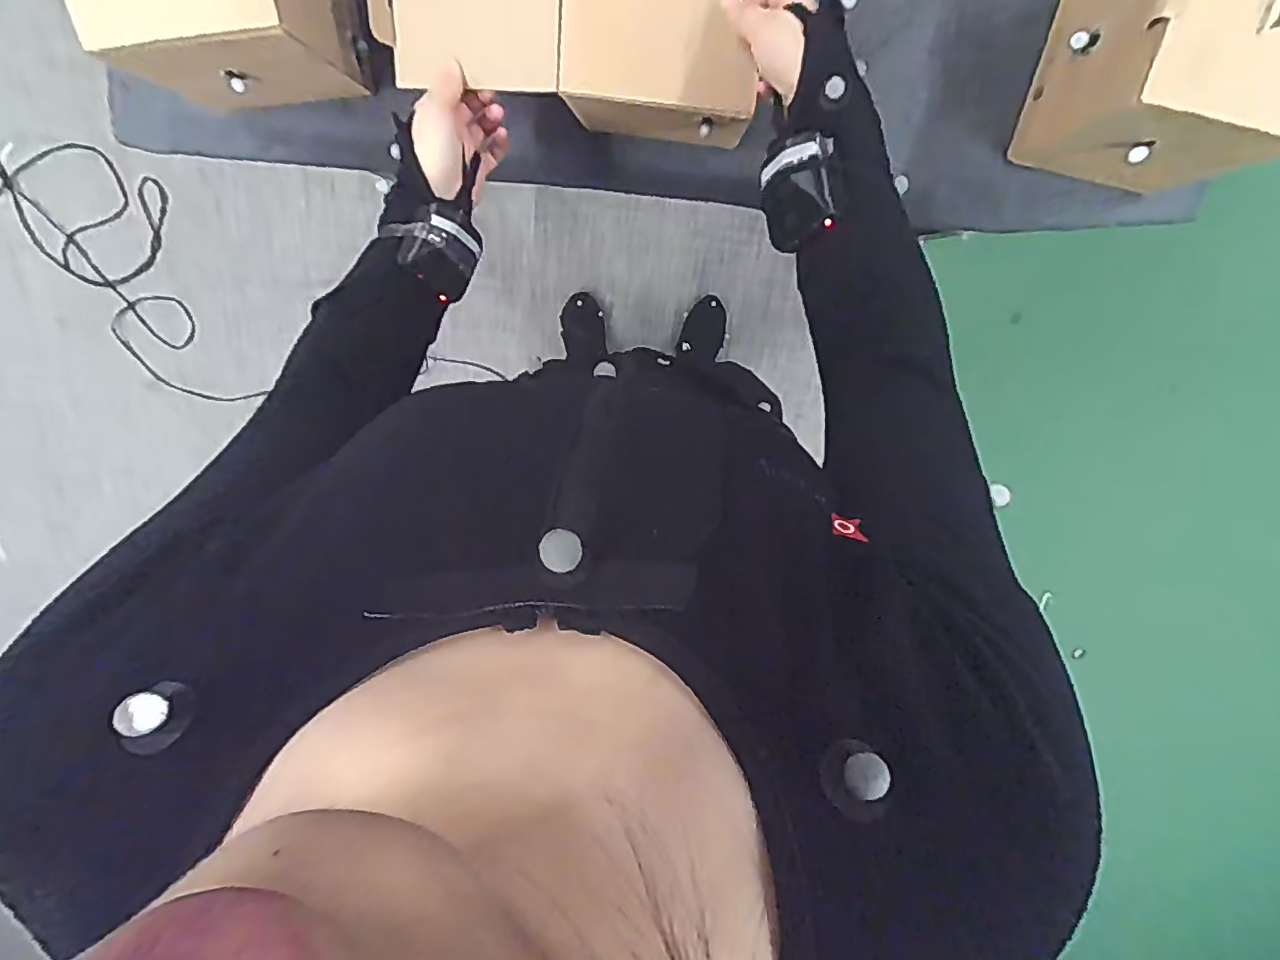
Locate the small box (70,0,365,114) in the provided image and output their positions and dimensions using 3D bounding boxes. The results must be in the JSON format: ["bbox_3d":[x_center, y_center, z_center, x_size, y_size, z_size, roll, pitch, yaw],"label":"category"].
[{"bbox_3d":[-0.384,-0.463,0.501,0.179,0.176,0.168,-5,110,3],"label":"small box"}]

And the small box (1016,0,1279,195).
[{"bbox_3d":[0.510,-0.390,0.511,0.179,0.176,0.168,11,106,-2],"label":"small box"}]

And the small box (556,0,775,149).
[{"bbox_3d":[0.026,-0.423,0.506,0.179,0.176,0.168,6,115,0],"label":"small box"}]
